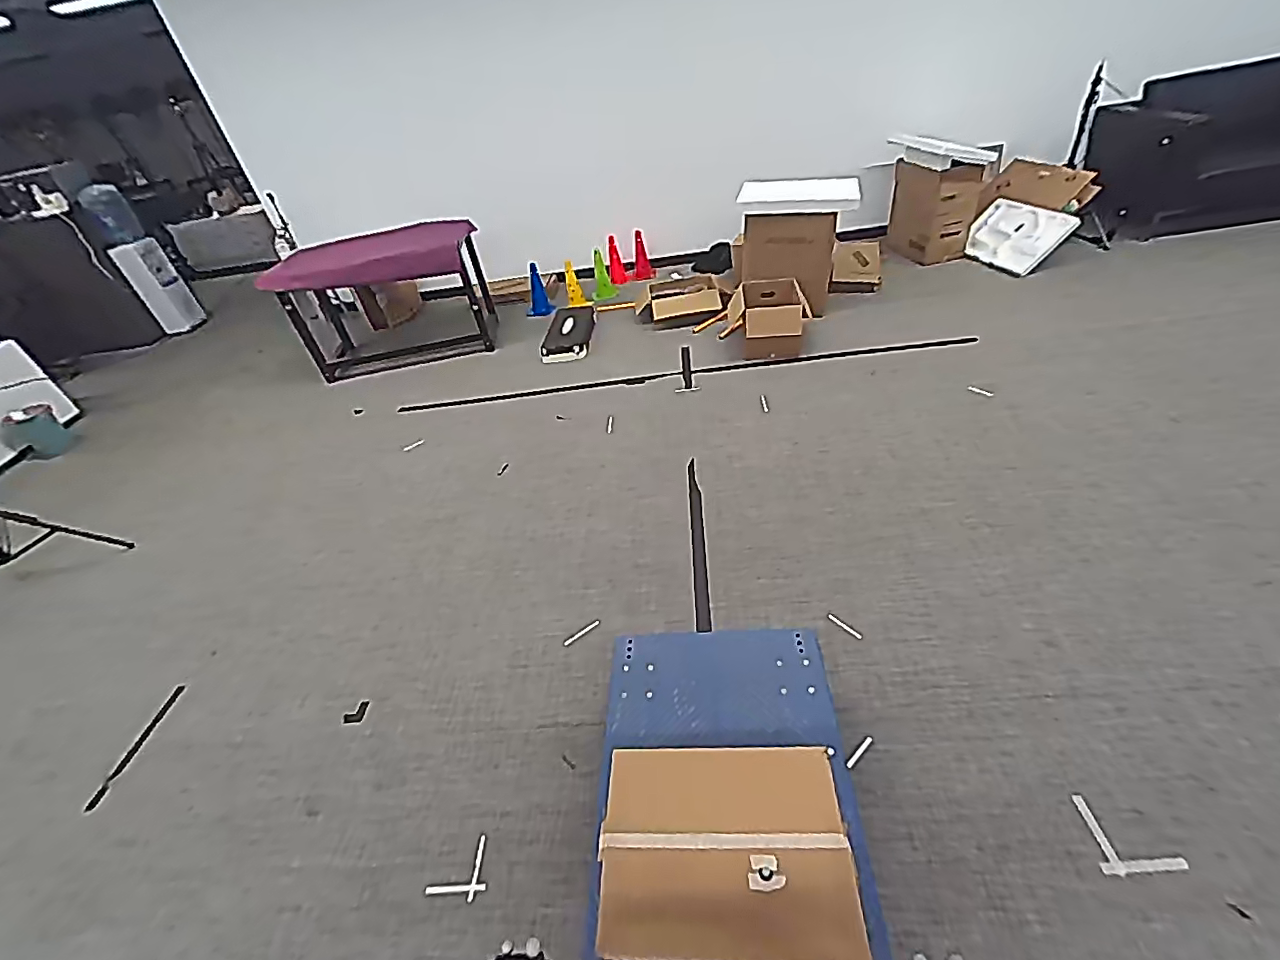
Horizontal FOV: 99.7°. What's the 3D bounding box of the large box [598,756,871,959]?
[{"bbox_3d":[0.154,0.732,0.979,0.408,0.320,0.320,-4,39,7],"label":"large box"}]
